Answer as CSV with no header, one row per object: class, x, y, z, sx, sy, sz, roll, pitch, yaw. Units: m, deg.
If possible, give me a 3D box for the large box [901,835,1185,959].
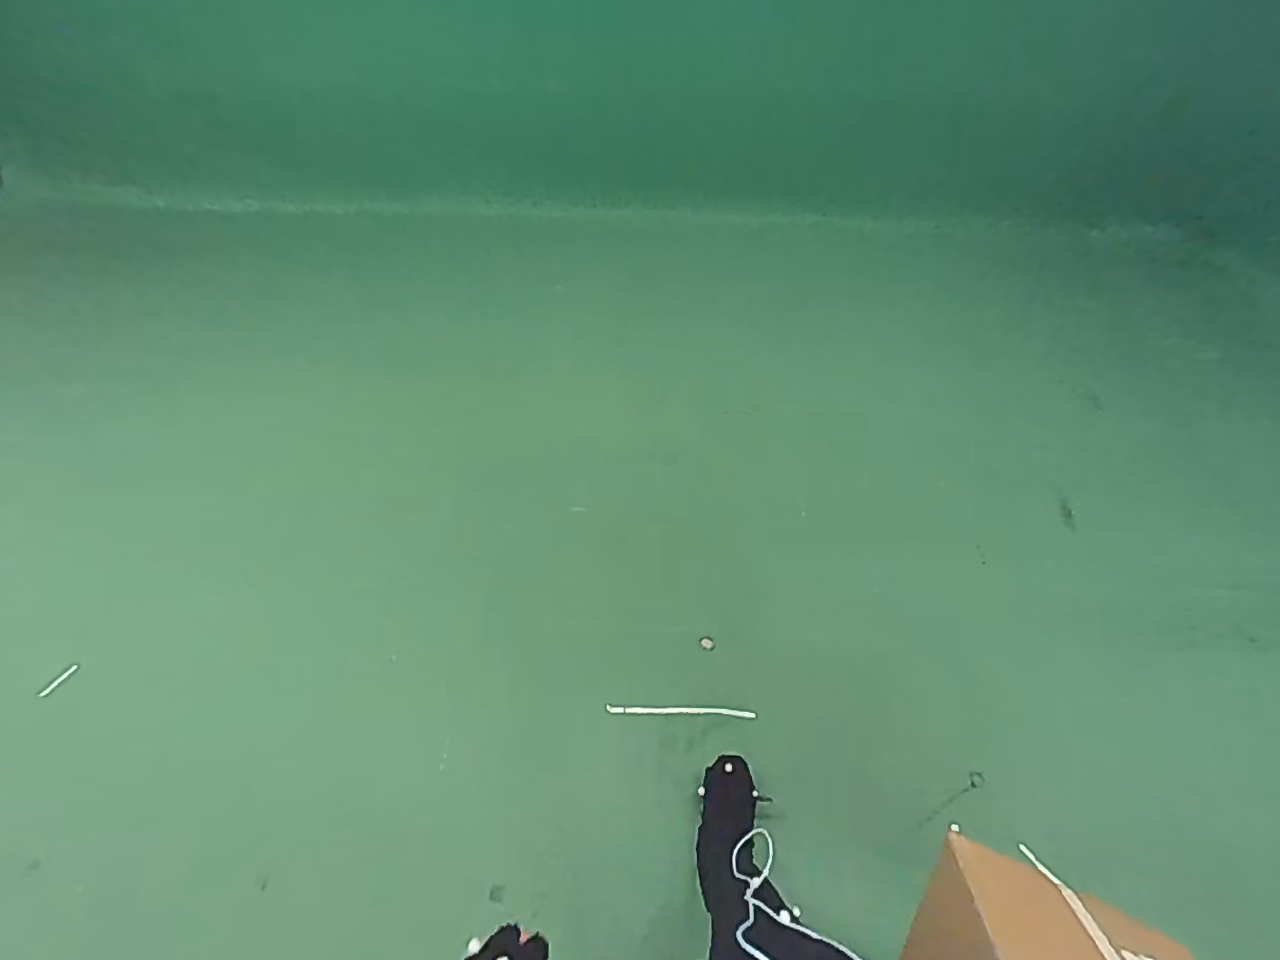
large box,0.506,0.732,0.621,0.320,0.408,0.320,21,92,19
